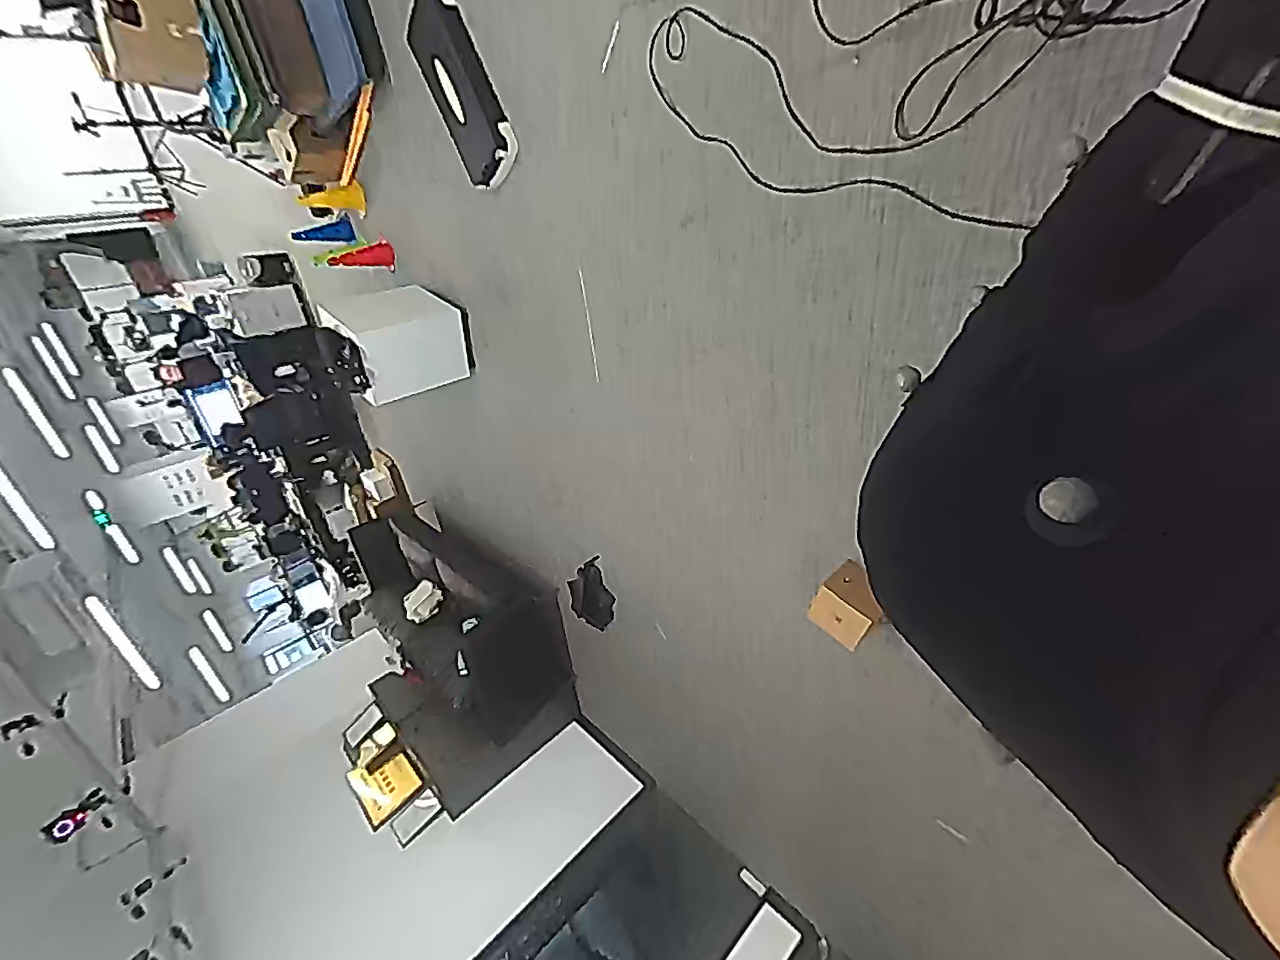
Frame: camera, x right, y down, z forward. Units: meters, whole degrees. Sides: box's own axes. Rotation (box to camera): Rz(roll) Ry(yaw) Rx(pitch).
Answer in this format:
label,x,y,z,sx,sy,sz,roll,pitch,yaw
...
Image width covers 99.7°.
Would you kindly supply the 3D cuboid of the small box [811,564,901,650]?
label,x,y,z,sx,sy,sz,roll,pitch,yaw
small box,0.674,0.387,1.689,0.179,0.176,0.168,36,139,30
